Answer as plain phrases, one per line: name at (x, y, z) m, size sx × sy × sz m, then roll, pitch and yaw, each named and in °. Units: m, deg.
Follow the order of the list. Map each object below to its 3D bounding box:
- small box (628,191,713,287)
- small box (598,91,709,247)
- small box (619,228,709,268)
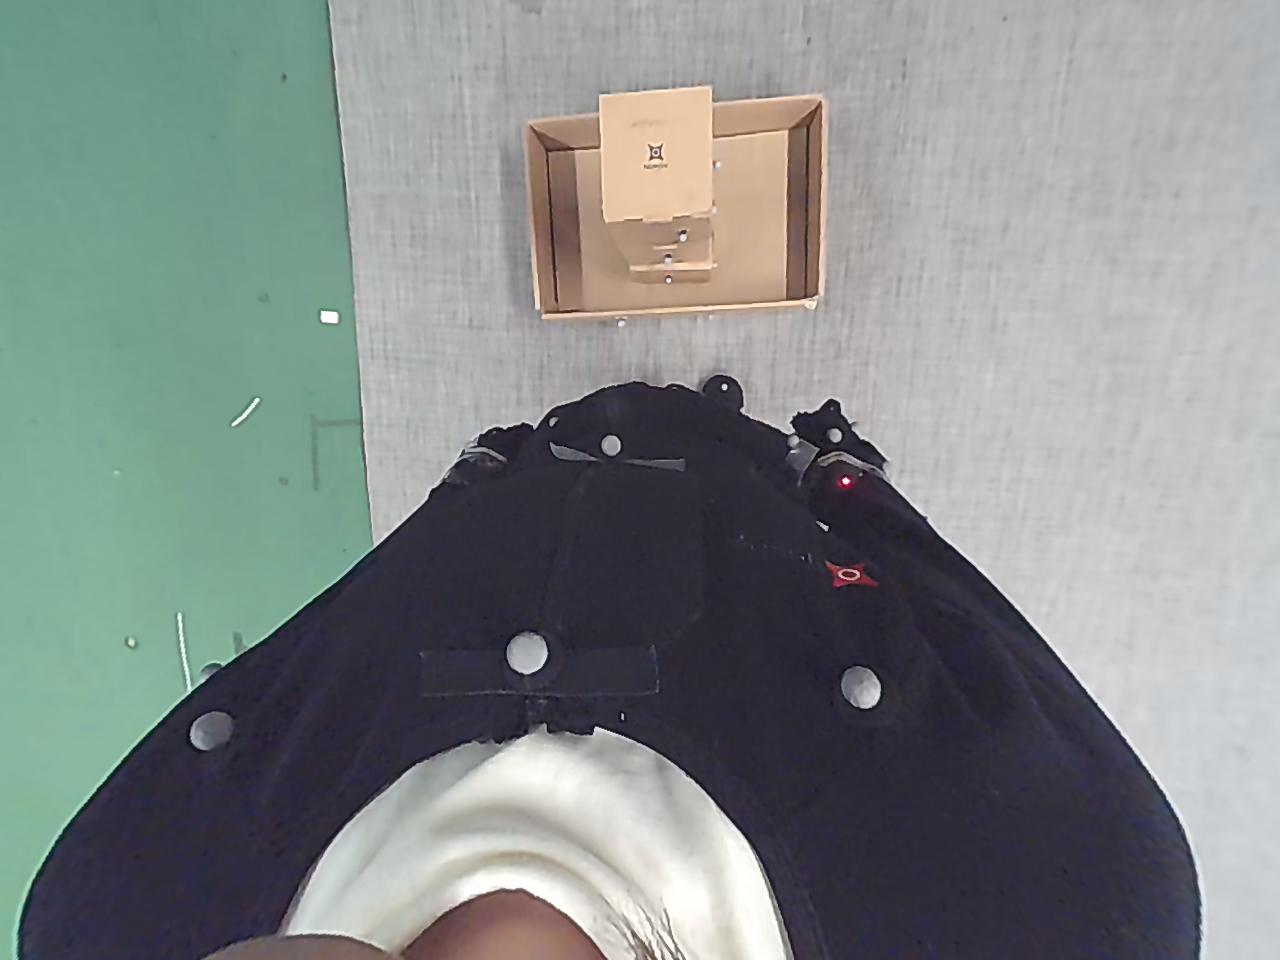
small box at (0.072, -0.535, 1.214) m, size 0.179 × 0.176 × 0.168 m, roll 2°, pitch 100°, yaw 7°
small box at (0.028, -0.488, 0.878) m, size 0.168 × 0.176 × 0.179 m, roll -1°, pitch 99°, yaw 5°
small box at (0.048, -0.522, 1.056) m, size 0.168 × 0.176 × 0.179 m, roll -3°, pitch 100°, yaw 8°
